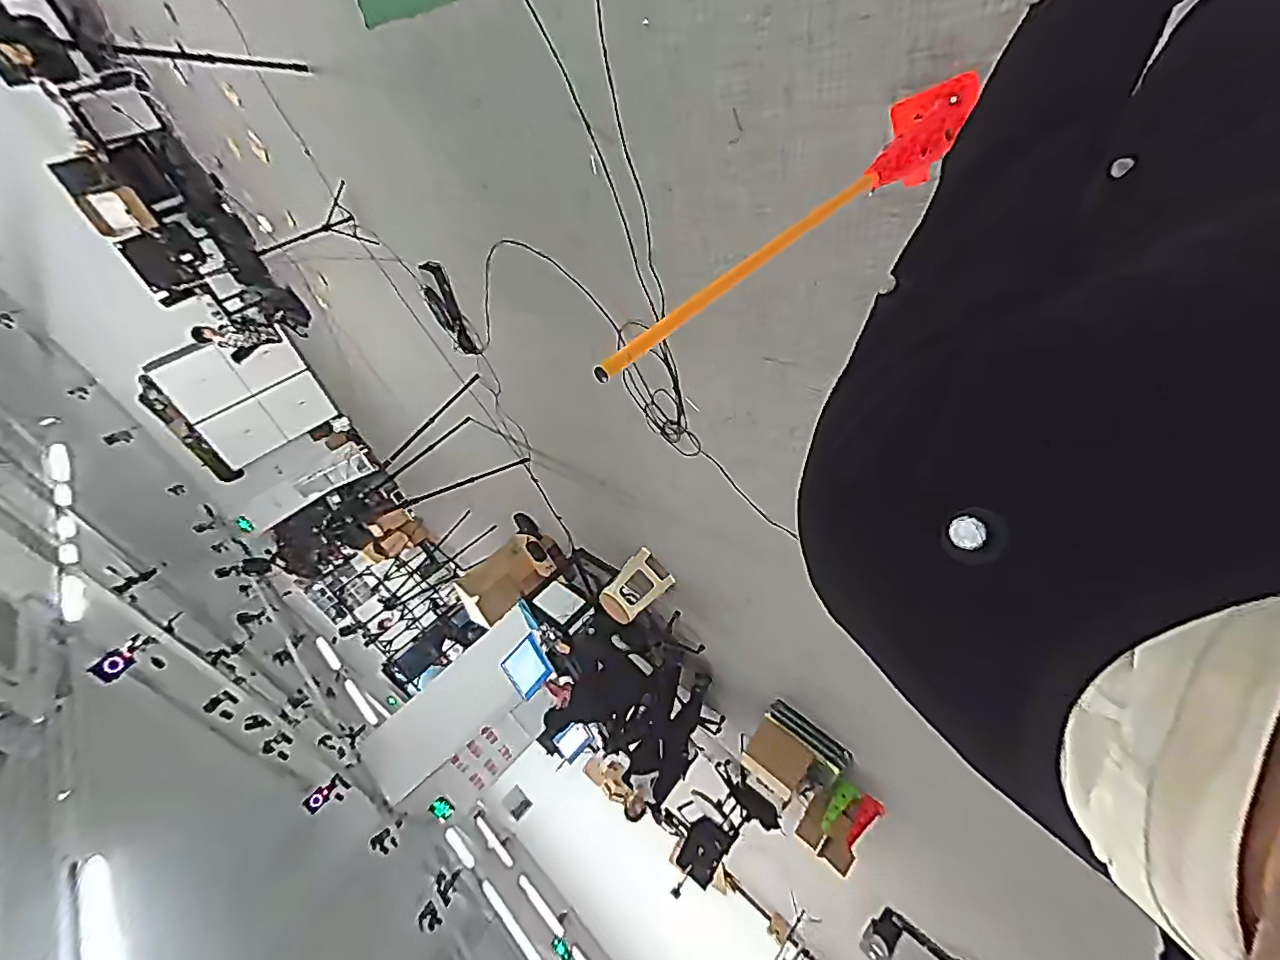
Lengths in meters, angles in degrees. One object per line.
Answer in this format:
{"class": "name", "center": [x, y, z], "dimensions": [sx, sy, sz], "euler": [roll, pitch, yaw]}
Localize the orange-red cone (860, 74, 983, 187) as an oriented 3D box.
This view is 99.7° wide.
{"class": "orange-red cone", "center": [0.608, -0.750, 1.243], "dimensions": [0.199, 0.360, 0.198], "euler": [12, 135, 51]}
